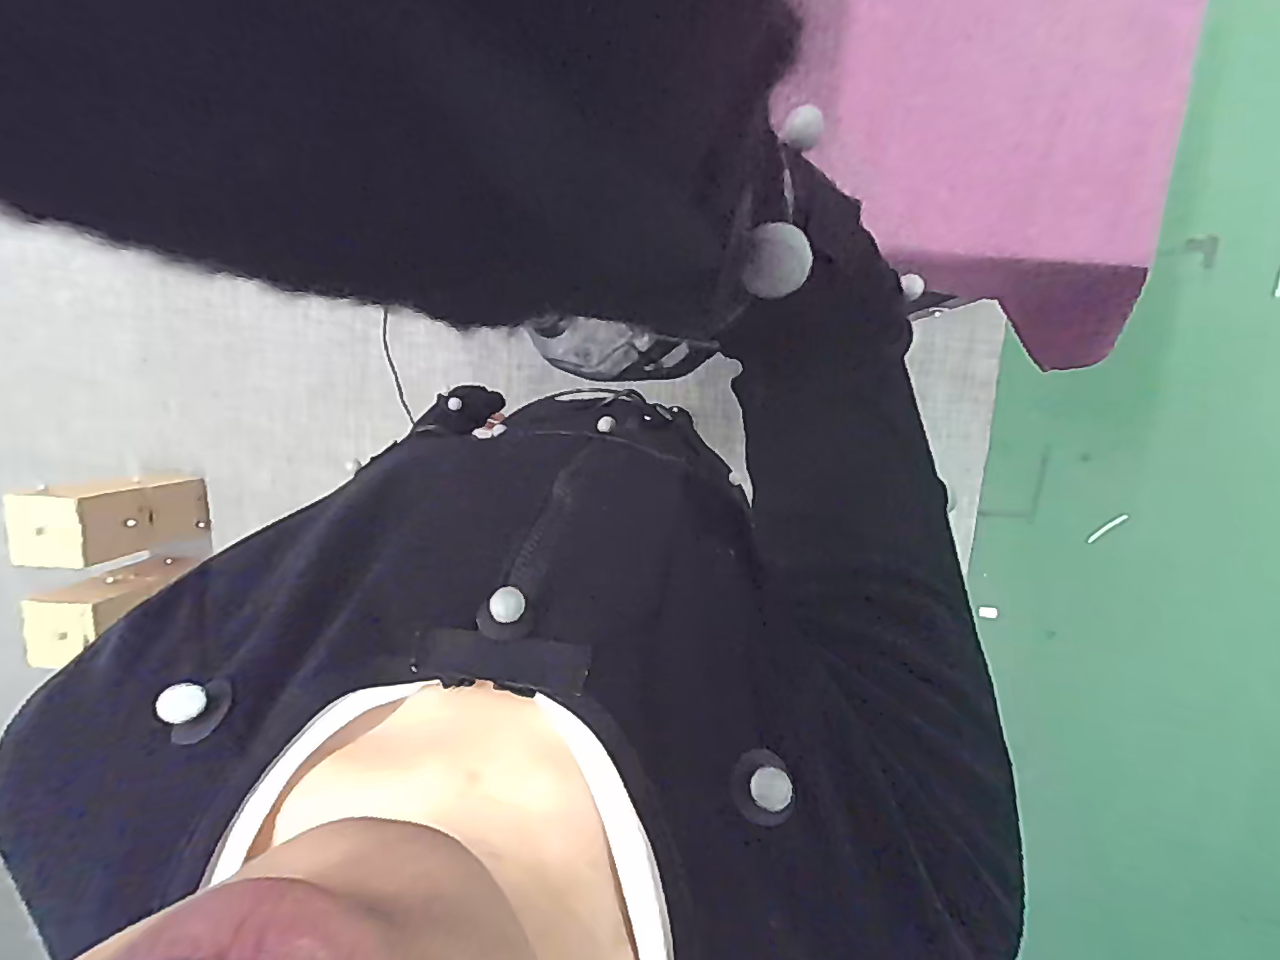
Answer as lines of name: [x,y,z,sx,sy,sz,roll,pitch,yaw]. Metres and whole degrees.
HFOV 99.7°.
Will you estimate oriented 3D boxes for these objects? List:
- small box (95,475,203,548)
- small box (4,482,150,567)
small box: [-1.326,0.079,1.460,0.179,0.176,0.168,2,98,3]
small box: [-1.341,0.100,1.298,0.179,0.176,0.168,3,99,2]
